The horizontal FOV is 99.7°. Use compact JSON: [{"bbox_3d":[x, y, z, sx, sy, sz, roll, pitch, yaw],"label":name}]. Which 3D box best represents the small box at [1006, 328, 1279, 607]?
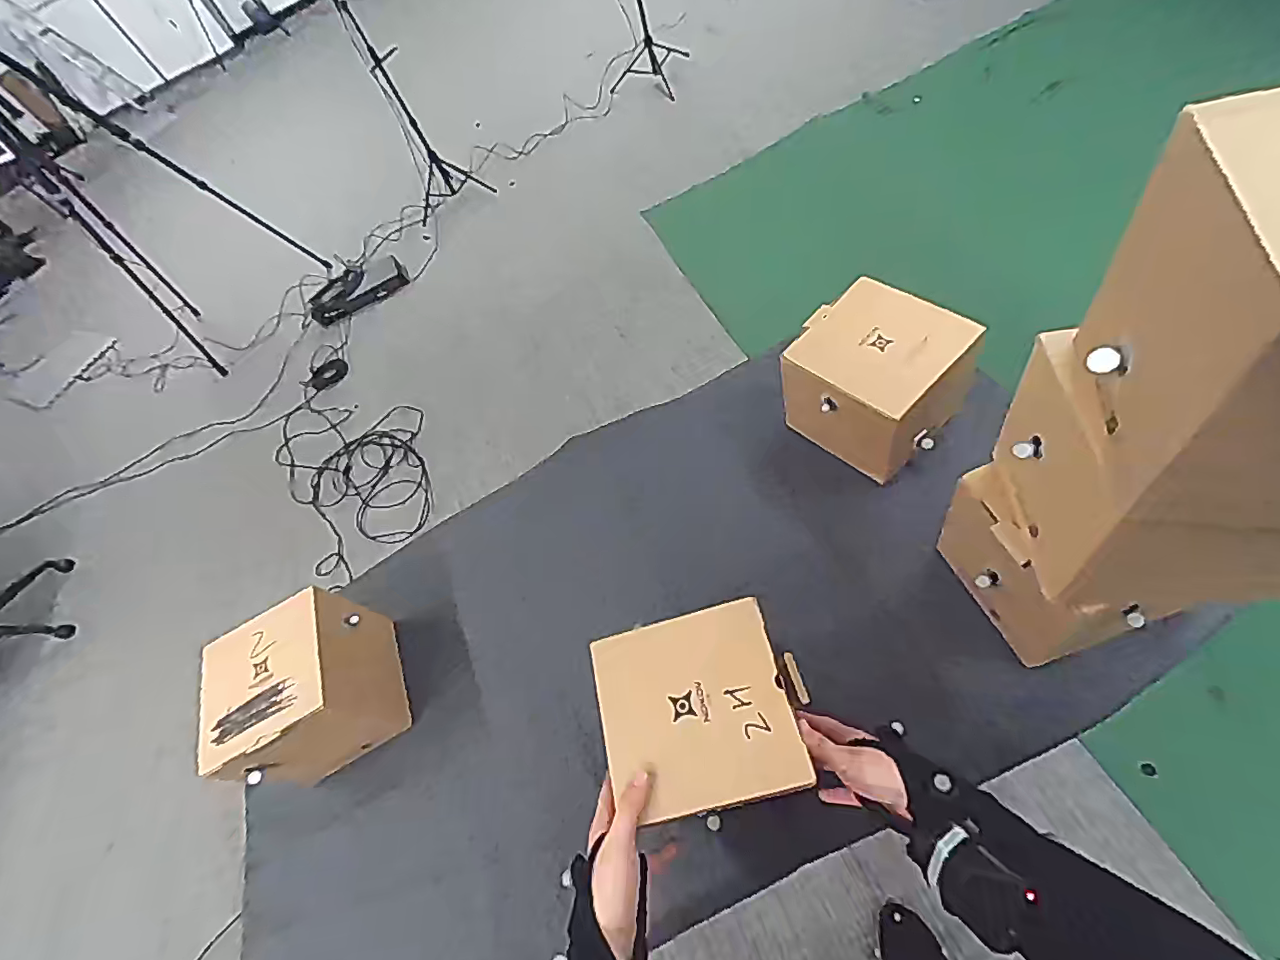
[{"bbox_3d":[0.414,-0.008,0.421,0.179,0.176,0.168,-6,55,16],"label":"small box"}]

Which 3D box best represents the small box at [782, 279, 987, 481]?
[{"bbox_3d":[0.316,-0.128,0.731,0.168,0.176,0.179,-44,58,-7],"label":"small box"}]

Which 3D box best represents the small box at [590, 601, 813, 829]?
[{"bbox_3d":[0.065,0.244,0.555,0.179,0.176,0.168,-16,59,6],"label":"small box"}]

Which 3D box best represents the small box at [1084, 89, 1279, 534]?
[{"bbox_3d":[0.373,-0.078,0.276,0.179,0.176,0.168,3,58,22],"label":"small box"}]

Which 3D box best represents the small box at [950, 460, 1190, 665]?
[{"bbox_3d":[0.452,0.069,0.561,0.179,0.176,0.168,-24,52,4],"label":"small box"}]
